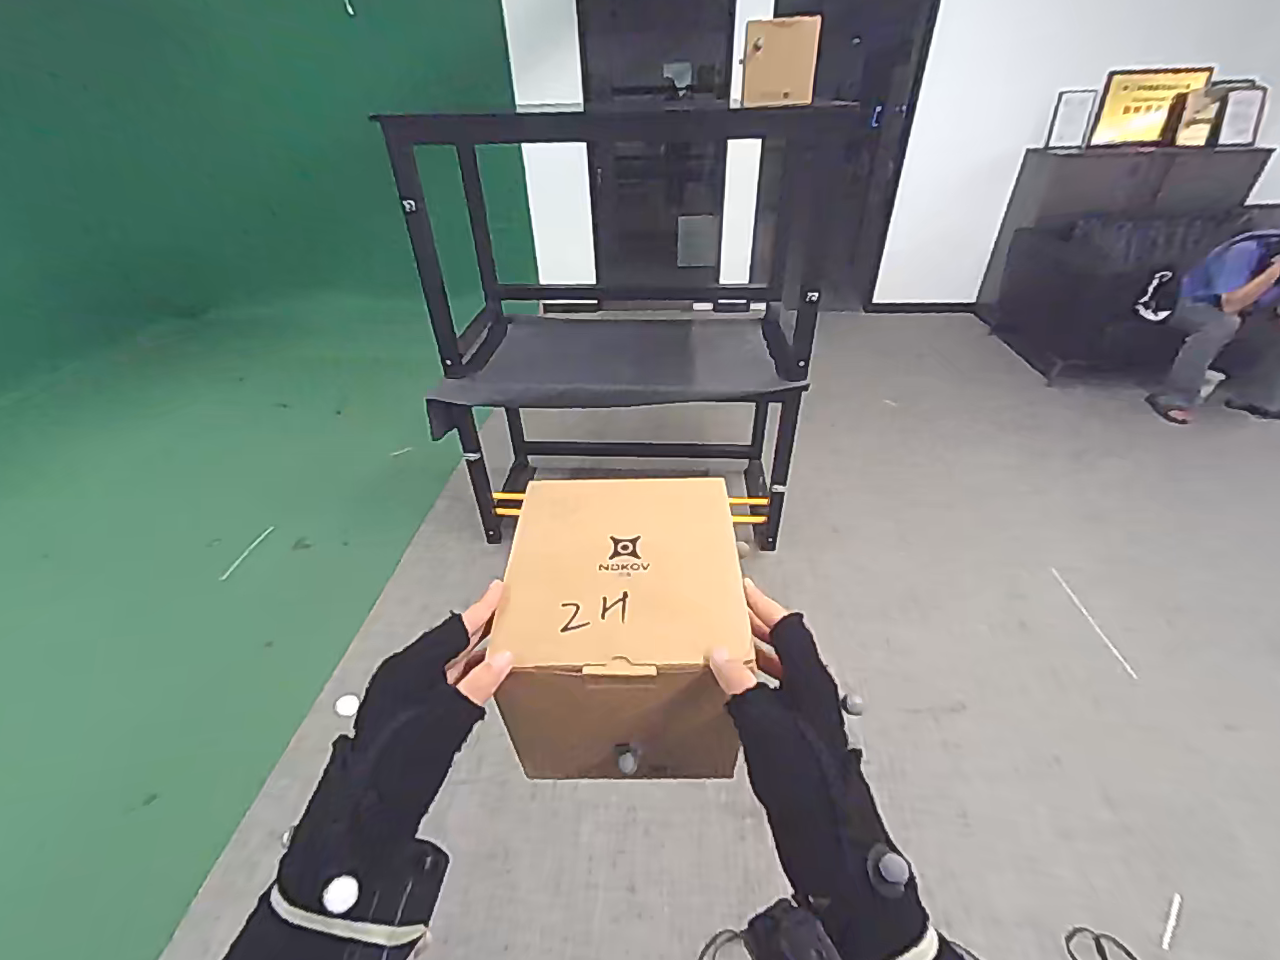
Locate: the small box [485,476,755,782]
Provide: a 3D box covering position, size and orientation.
[{"bbox_3d":[-0.009,0.114,0.435,0.168,0.176,0.179,-1,39,2],"label":"small box"}]
